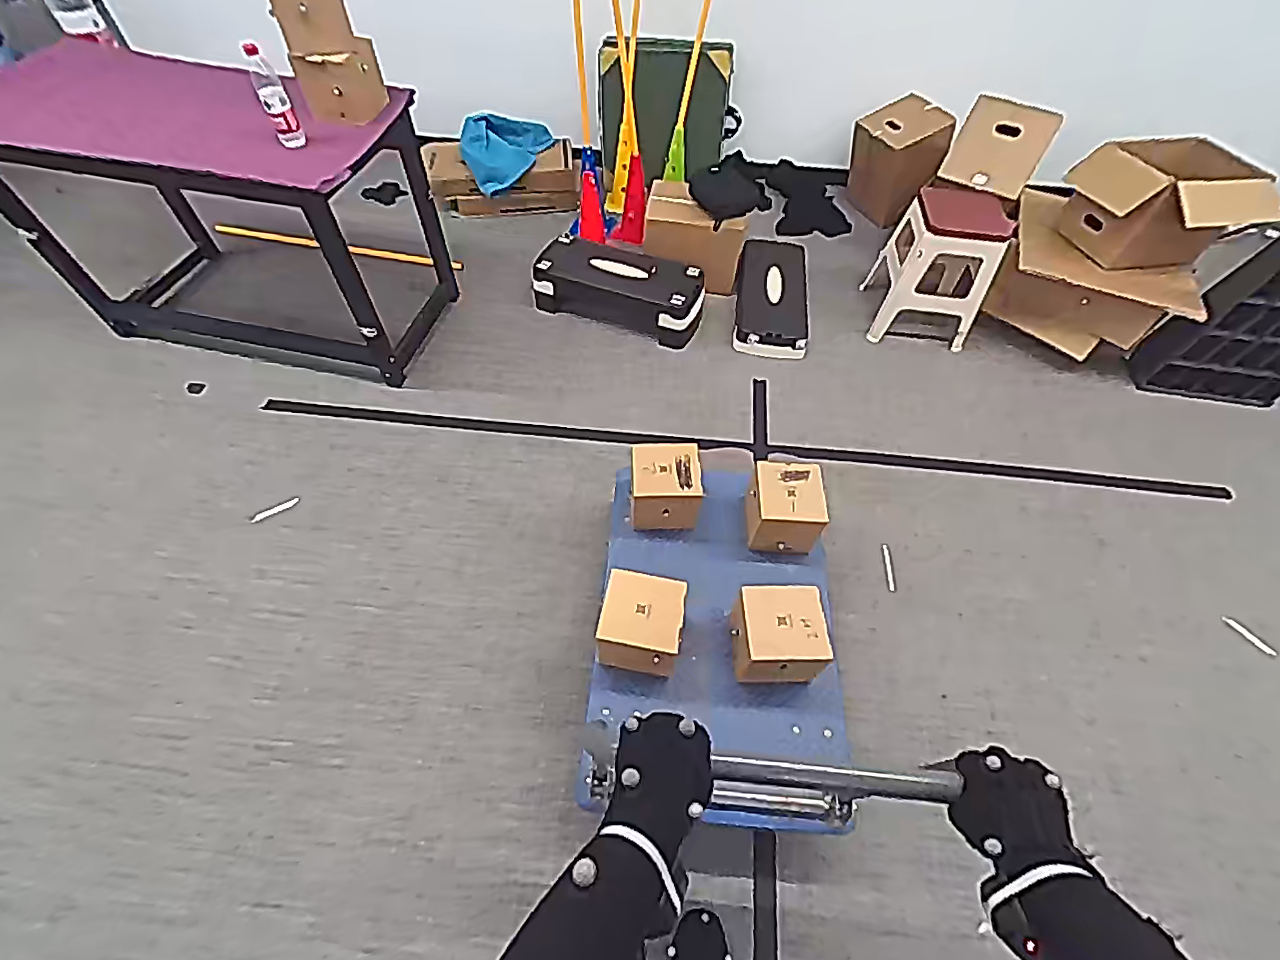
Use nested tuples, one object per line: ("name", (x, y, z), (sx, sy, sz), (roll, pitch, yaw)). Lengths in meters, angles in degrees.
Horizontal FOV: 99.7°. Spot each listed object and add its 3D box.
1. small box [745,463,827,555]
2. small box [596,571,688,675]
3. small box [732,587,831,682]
("small box", (0.376, 0.078, 1.424), (0.168, 0.176, 0.179), (3, 56, 1))
("small box", (0.003, 0.330, 1.233), (0.179, 0.176, 0.168), (11, 55, 3))
("small box", (0.309, 0.354, 1.227), (0.179, 0.176, 0.168), (0, 55, -2))
